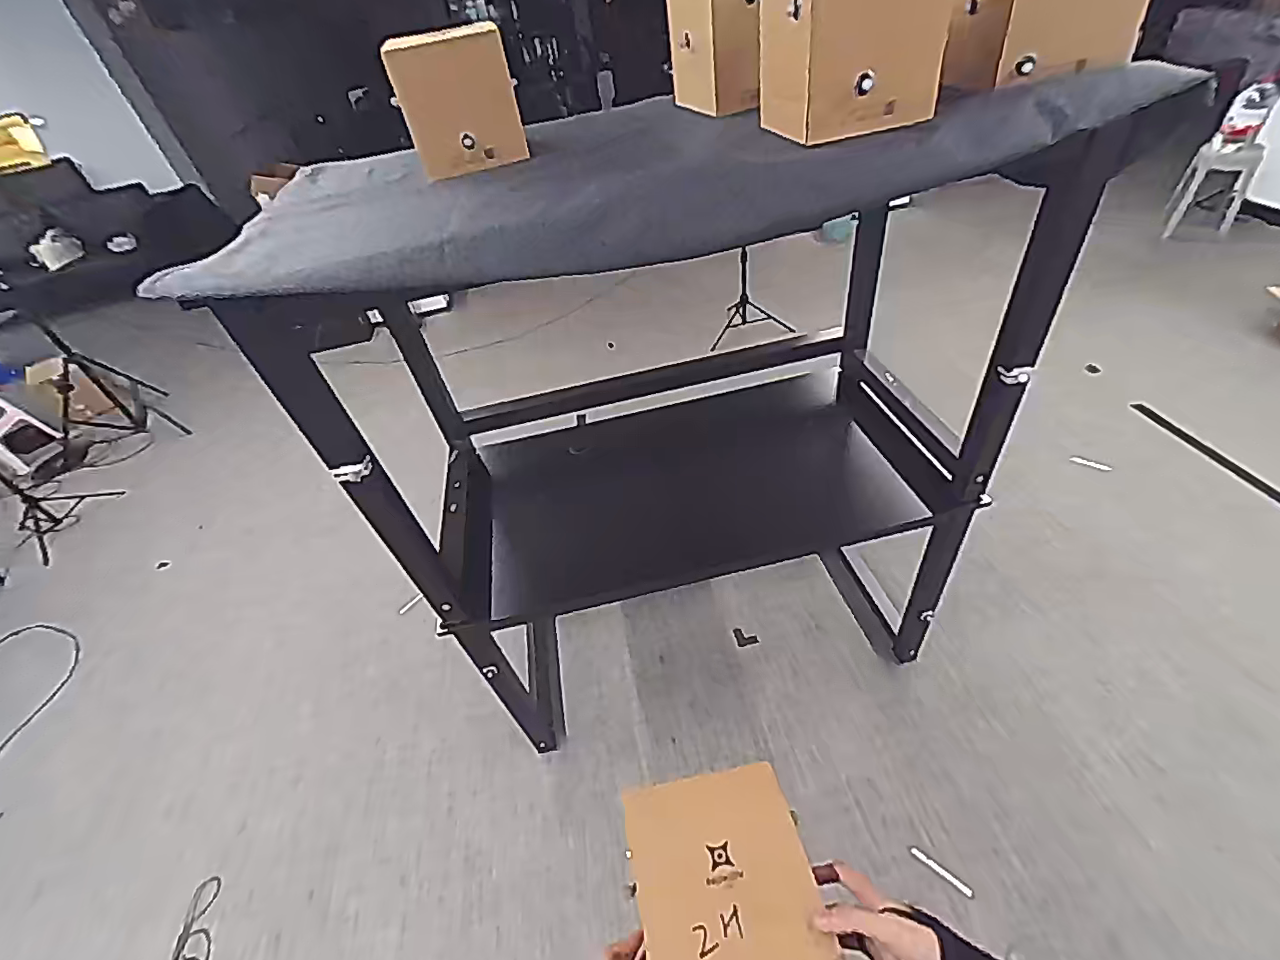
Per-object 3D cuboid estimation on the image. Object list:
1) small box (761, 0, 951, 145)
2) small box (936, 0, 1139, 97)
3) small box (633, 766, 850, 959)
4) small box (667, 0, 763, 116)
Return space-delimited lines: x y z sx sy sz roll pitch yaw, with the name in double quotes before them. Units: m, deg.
"small box" 0.257 -0.542 0.684 0.168 0.176 0.179 -14 42 -2
"small box" 0.520 -0.622 0.710 0.168 0.176 0.179 -8 41 5
"small box" 0.087 0.436 0.557 0.168 0.176 0.179 -8 35 -7
"small box" 0.154 -0.725 0.900 0.168 0.176 0.179 -20 43 -9
